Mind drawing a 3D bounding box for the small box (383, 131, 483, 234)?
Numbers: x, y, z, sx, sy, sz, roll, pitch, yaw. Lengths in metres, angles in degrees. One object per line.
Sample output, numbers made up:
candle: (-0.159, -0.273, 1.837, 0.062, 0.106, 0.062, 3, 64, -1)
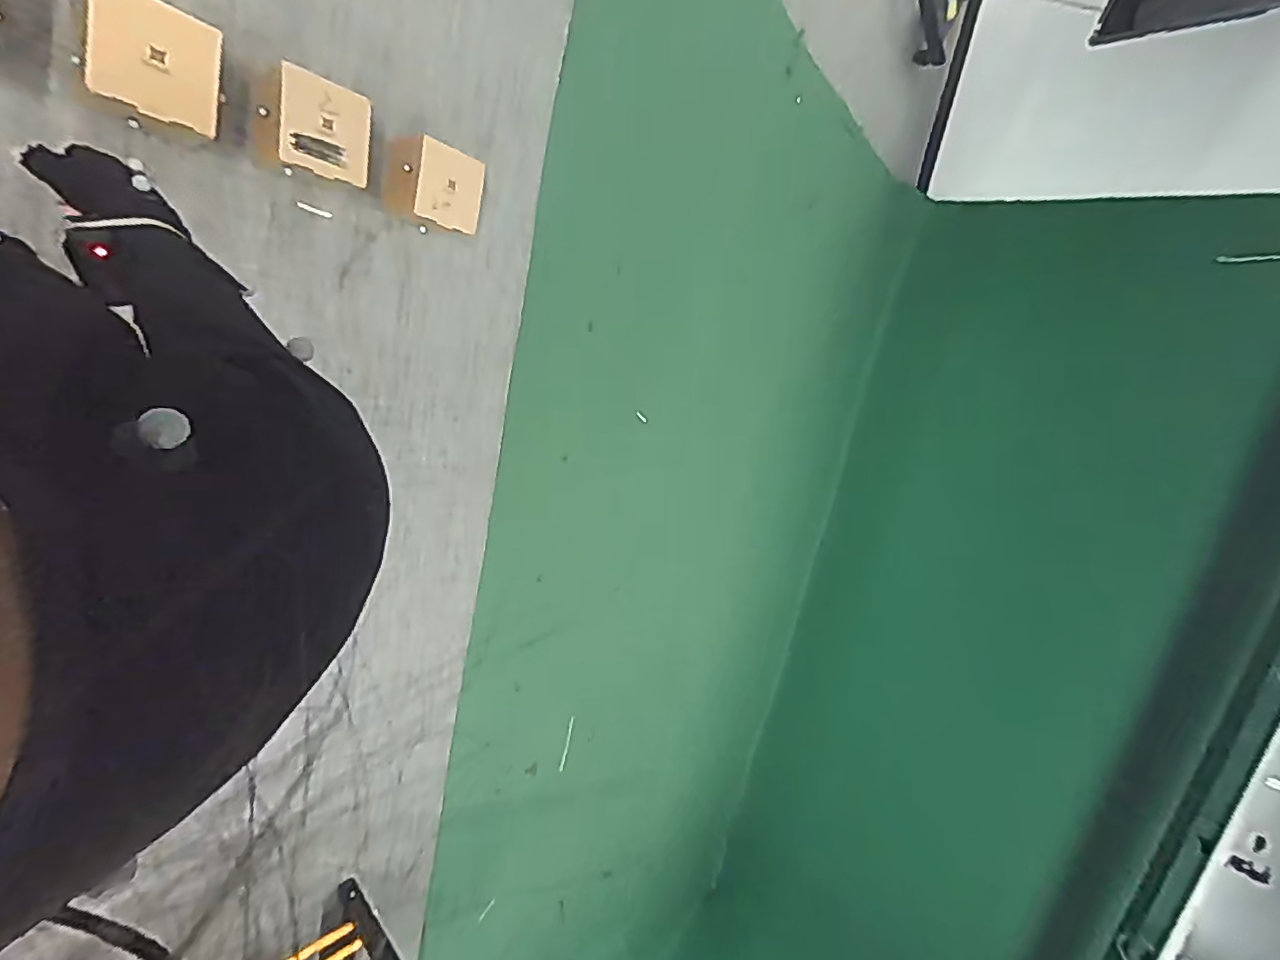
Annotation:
small box: (-0.522, -0.737, 1.355, 0.168, 0.176, 0.179, 0, 107, -50)

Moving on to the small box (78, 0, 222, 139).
small box: (-0.863, -0.733, 0.949, 0.168, 0.176, 0.179, 0, 107, -49)
